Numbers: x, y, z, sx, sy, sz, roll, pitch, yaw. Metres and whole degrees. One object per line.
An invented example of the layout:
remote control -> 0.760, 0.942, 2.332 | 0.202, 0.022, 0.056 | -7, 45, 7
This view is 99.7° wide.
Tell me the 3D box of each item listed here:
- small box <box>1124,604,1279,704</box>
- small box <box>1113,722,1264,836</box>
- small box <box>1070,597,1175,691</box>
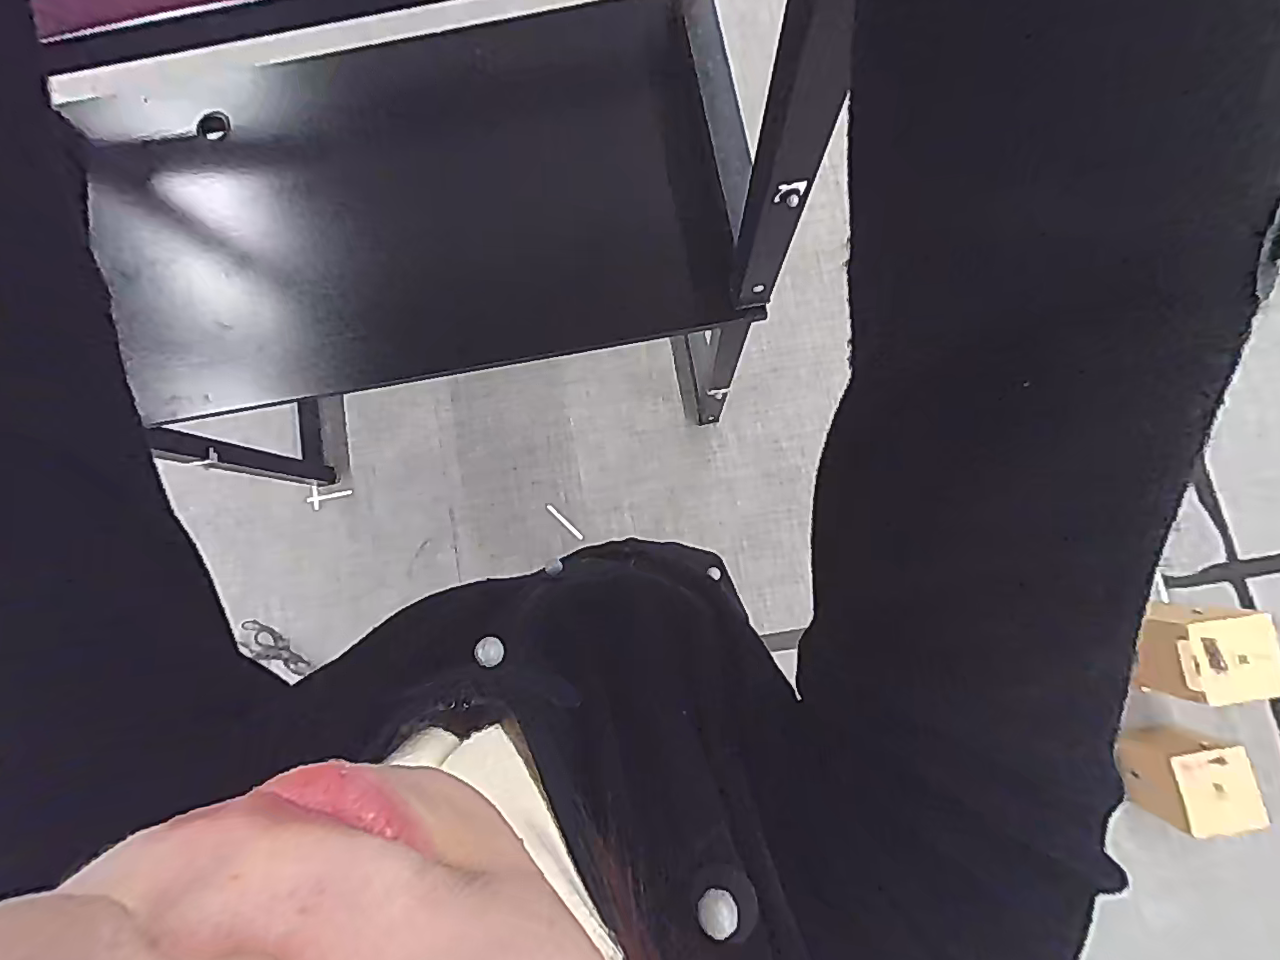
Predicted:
small box -> 1.206, 0.370, 1.171 | 0.179, 0.176, 0.168 | -9, 83, 1
small box -> 1.295, 0.706, 1.291 | 0.168, 0.176, 0.179 | -10, 83, 1
small box -> 1.219, 0.398, 1.332 | 0.168, 0.176, 0.179 | -11, 83, 1
